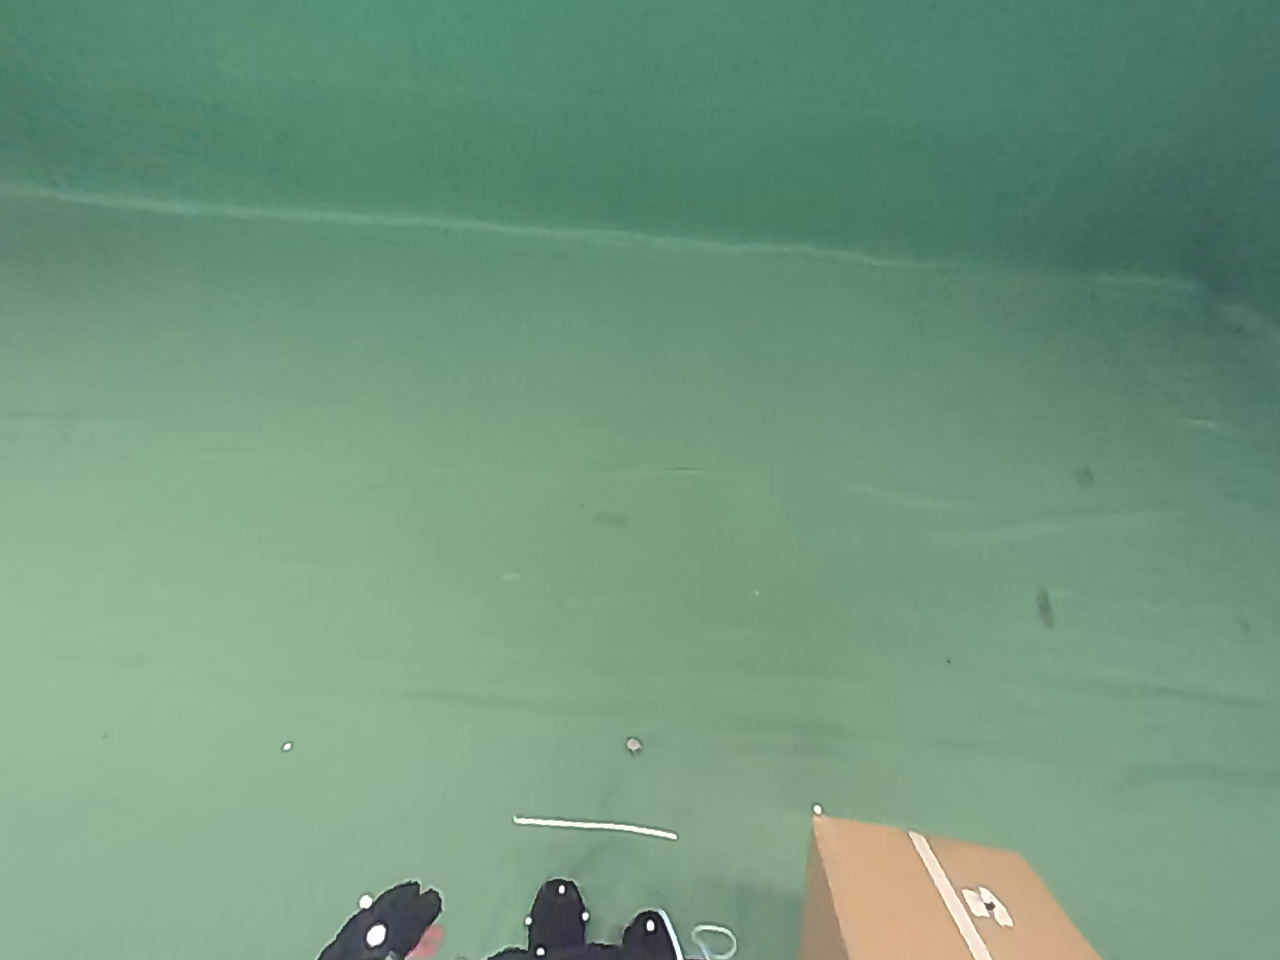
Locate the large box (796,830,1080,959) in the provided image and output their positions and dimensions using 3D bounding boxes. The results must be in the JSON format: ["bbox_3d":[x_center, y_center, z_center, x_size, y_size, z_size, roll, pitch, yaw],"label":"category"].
[{"bbox_3d":[0.381,0.732,0.664,0.320,0.408,0.320,7,91,8],"label":"large box"}]
